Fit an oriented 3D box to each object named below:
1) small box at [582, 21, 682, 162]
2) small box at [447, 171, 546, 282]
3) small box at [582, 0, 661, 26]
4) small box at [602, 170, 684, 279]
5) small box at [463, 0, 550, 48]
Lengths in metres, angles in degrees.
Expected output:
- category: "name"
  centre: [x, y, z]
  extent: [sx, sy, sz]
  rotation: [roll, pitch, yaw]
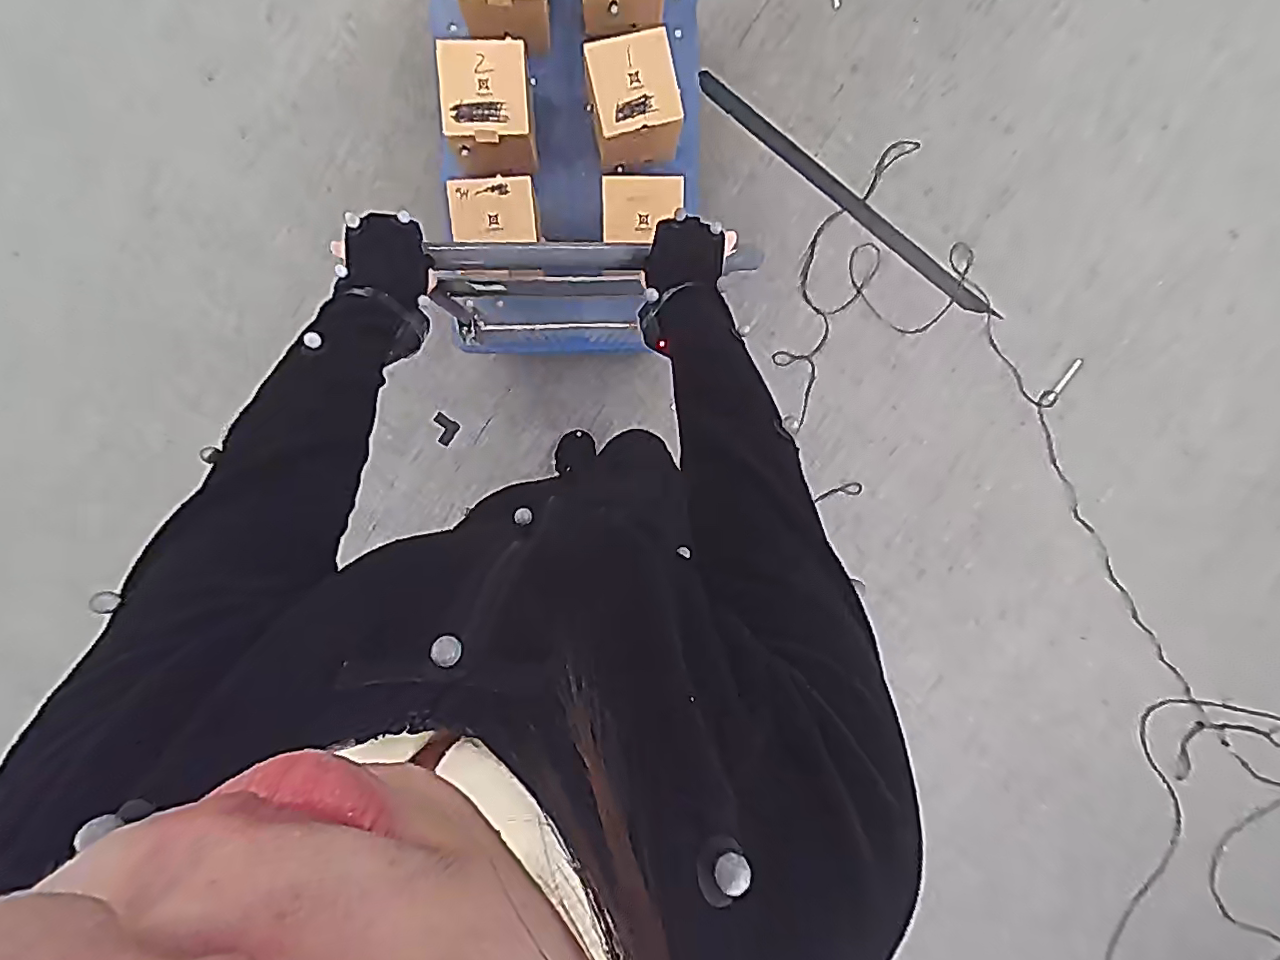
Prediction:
- category: "small box"
  centre: [-0.018, -0.796, 1.132]
  extent: [0.168, 0.176, 0.179]
  rotation: [-14, 97, -2]
- category: "small box"
  centre: [-0.295, -0.525, 1.145]
  extent: [0.168, 0.176, 0.179]
  rotation: [-5, 98, -4]
- category: "small box"
  centre: [-0.041, -1.065, 1.098]
  extent: [0.168, 0.176, 0.179]
  rotation: [-5, 97, -3]
- category: "small box"
  centre: [0.002, -0.541, 1.166]
  extent: [0.168, 0.176, 0.179]
  rotation: [-1, 97, -4]
- category: "small box"
  centre: [-0.272, -1.021, 1.084]
  extent: [0.168, 0.176, 0.179]
  rotation: [0, 98, -4]
